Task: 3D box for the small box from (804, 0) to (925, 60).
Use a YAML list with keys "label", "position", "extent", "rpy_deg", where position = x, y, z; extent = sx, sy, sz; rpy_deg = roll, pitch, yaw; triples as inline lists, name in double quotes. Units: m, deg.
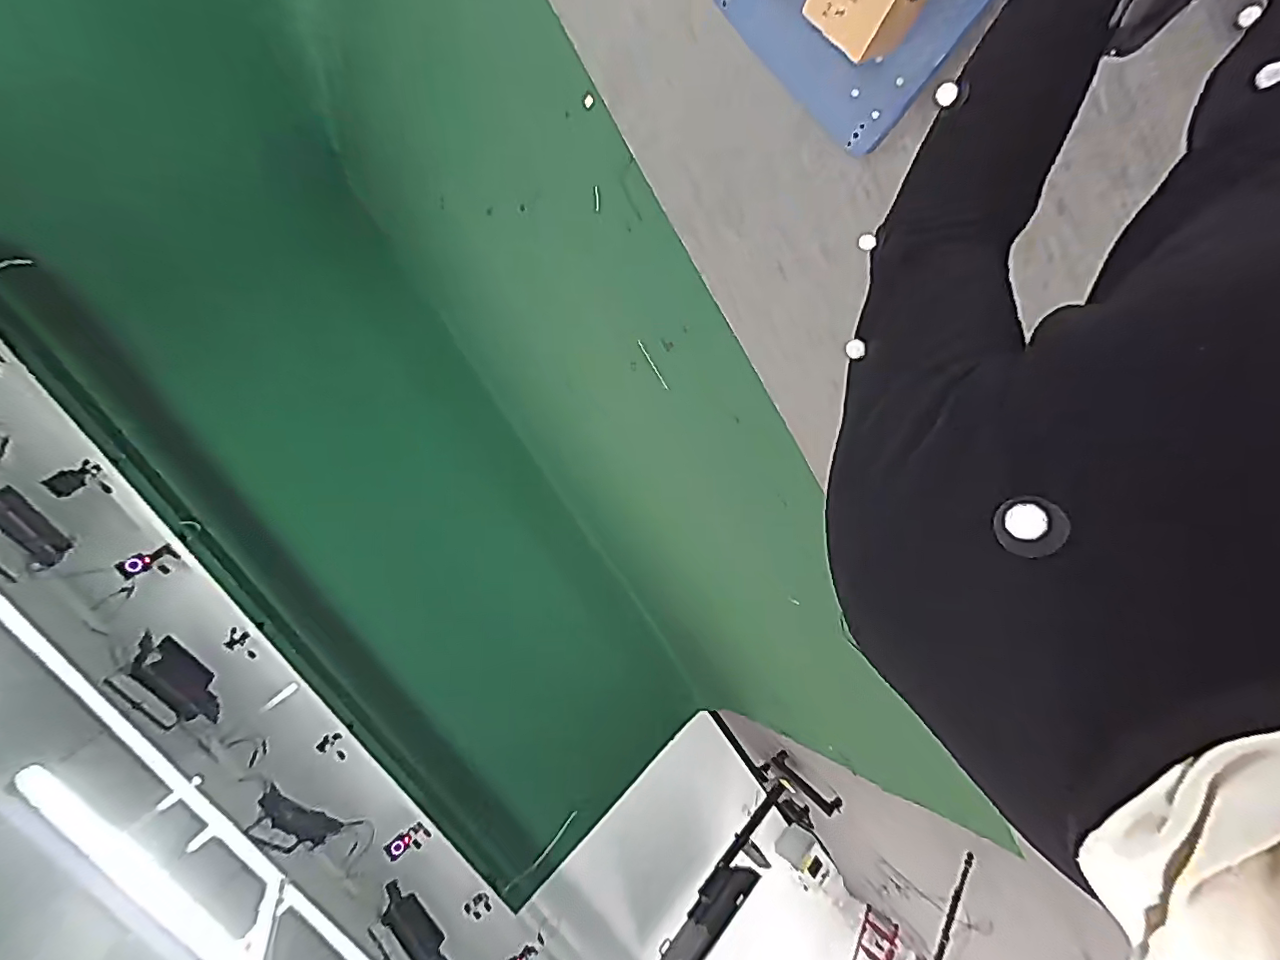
- label: "small box"
  position: [0.463, -0.978, 1.051]
  extent: [0.168, 0.176, 0.179]
  rpy_deg: [49, 155, 6]
